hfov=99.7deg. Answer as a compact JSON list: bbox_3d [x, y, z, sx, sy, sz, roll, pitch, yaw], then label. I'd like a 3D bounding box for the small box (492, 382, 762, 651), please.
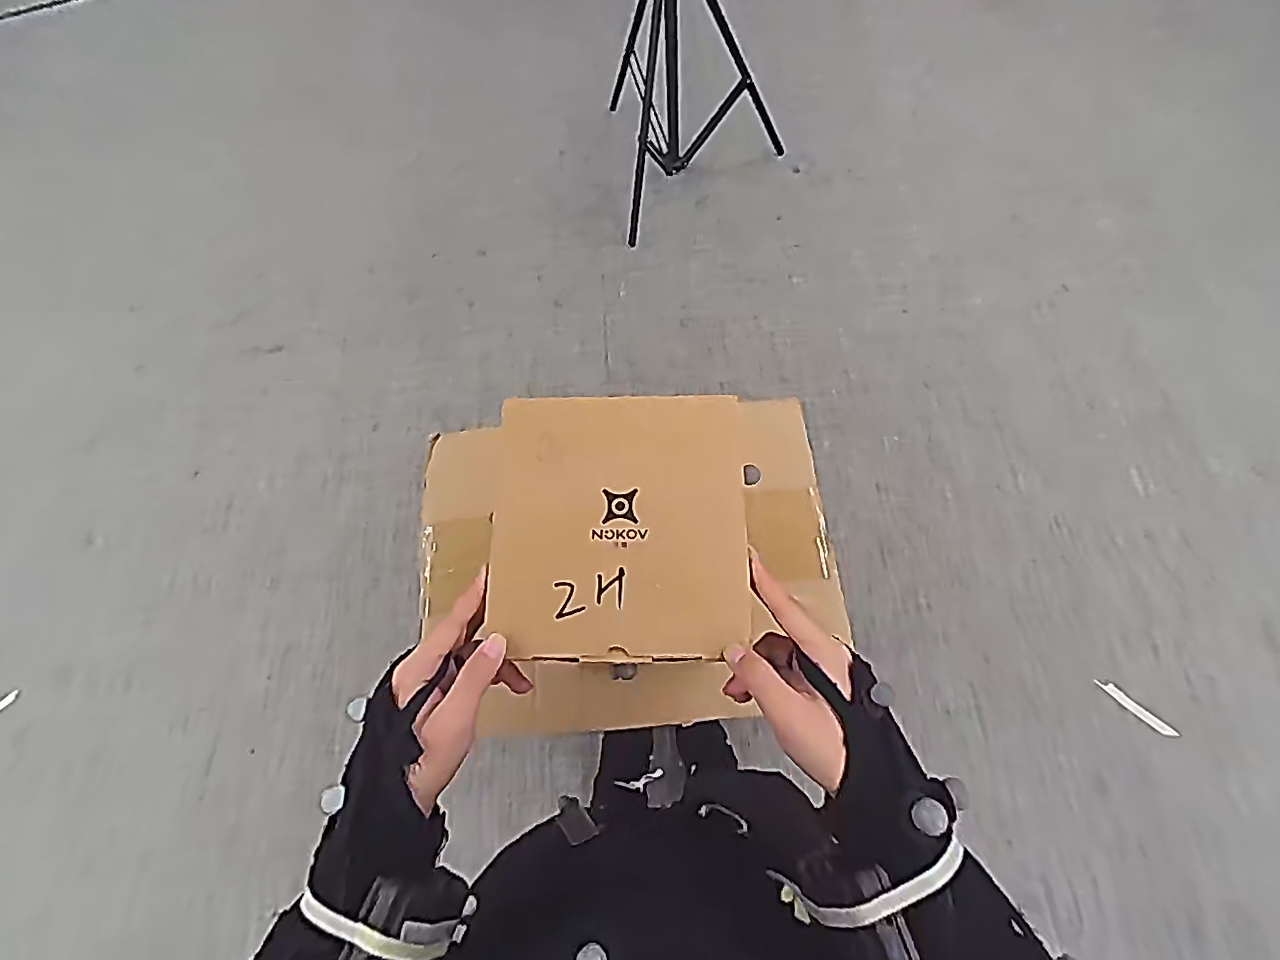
[{"bbox_3d":[-0.003,0.040,0.424,0.168,0.176,0.179,0,72,3],"label":"small box"}]

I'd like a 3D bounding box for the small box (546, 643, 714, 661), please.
[{"bbox_3d":[-0.001,0.104,0.591,0.168,0.176,0.179,-4,69,3],"label":"small box"}]
